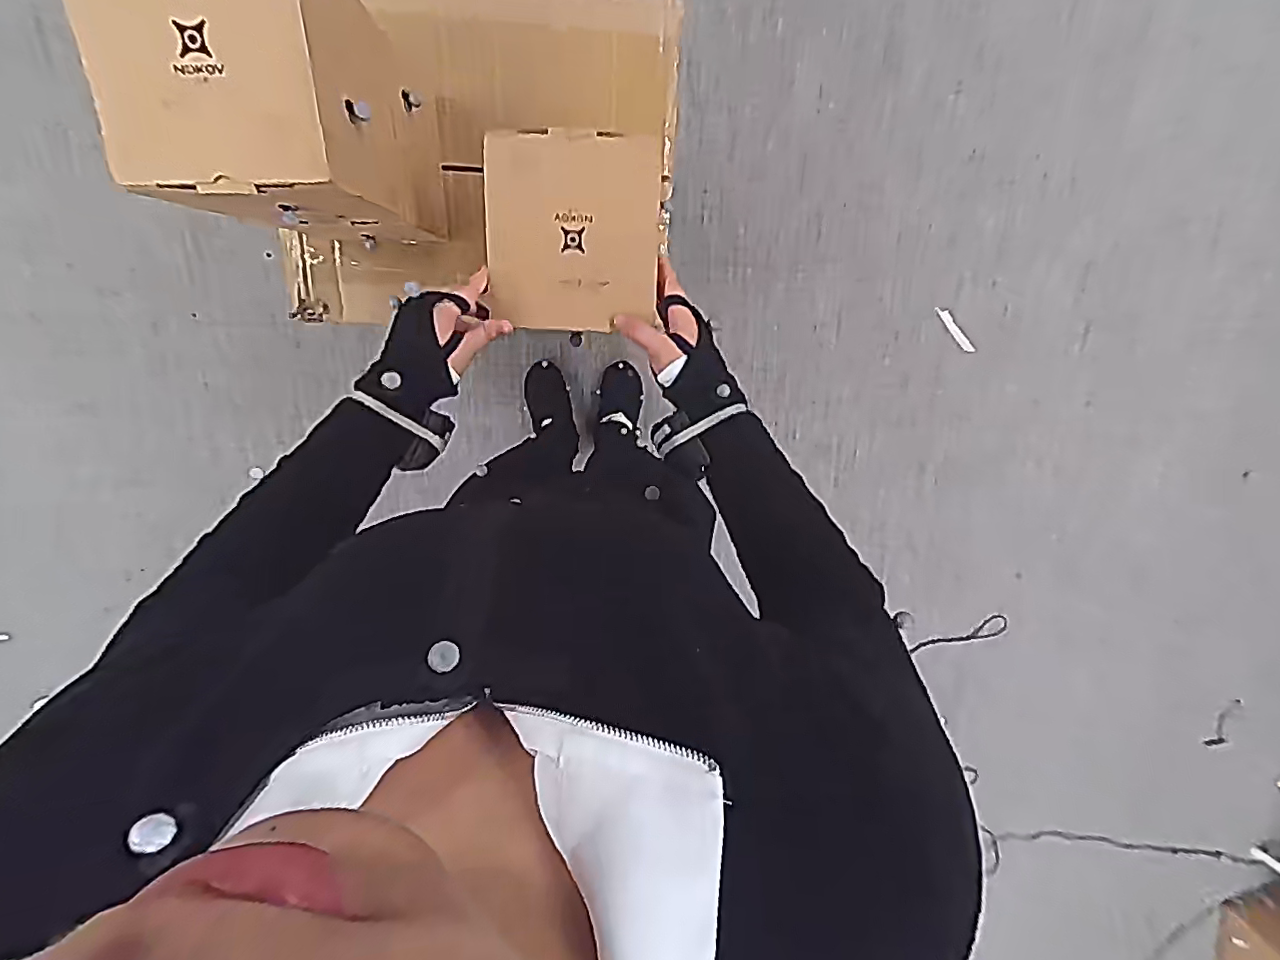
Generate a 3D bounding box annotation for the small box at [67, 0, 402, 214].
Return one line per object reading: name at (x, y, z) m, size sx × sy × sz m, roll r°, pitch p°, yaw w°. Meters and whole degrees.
small box at (-0.327, -0.337, 0.471) m, size 0.168 × 0.176 × 0.179 m, roll -2°, pitch 108°, yaw -3°

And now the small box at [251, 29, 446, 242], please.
small box at (-0.336, -0.384, 0.628) m, size 0.168 × 0.176 × 0.179 m, roll -1°, pitch 108°, yaw -4°

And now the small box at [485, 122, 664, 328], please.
small box at (-0.063, -0.260, 0.589) m, size 0.168 × 0.176 × 0.179 m, roll 1°, pitch 106°, yaw 0°
